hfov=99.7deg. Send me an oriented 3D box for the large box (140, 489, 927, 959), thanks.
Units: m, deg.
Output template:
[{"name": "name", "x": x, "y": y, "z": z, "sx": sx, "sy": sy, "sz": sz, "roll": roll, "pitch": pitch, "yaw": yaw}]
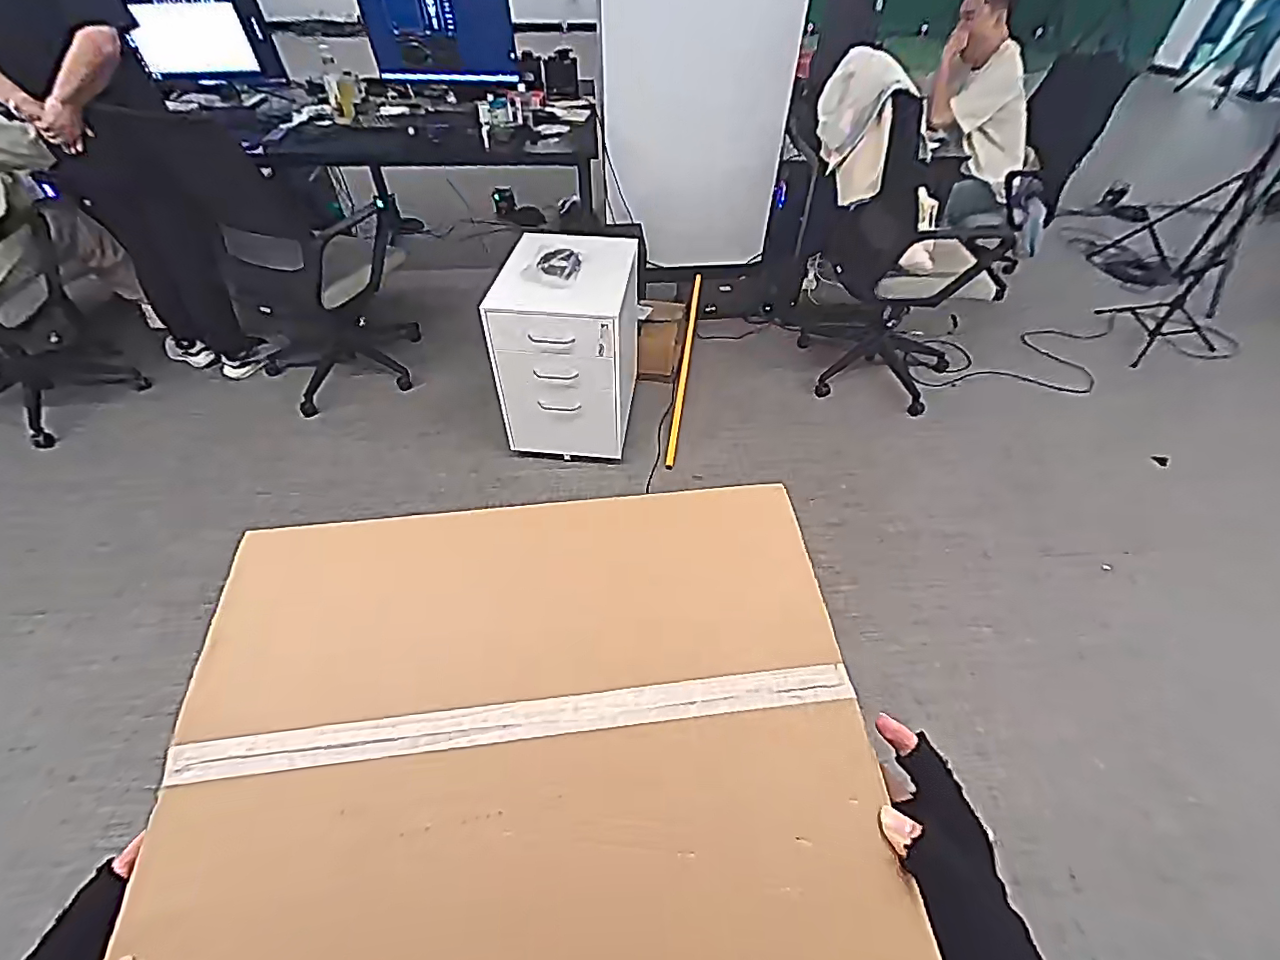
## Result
[{"name": "large box", "x": -0.070, "y": 0.237, "z": 0.462, "sx": 0.408, "sy": 0.320, "sz": 0.320, "roll": -5, "pitch": 56, "yaw": -5}]
